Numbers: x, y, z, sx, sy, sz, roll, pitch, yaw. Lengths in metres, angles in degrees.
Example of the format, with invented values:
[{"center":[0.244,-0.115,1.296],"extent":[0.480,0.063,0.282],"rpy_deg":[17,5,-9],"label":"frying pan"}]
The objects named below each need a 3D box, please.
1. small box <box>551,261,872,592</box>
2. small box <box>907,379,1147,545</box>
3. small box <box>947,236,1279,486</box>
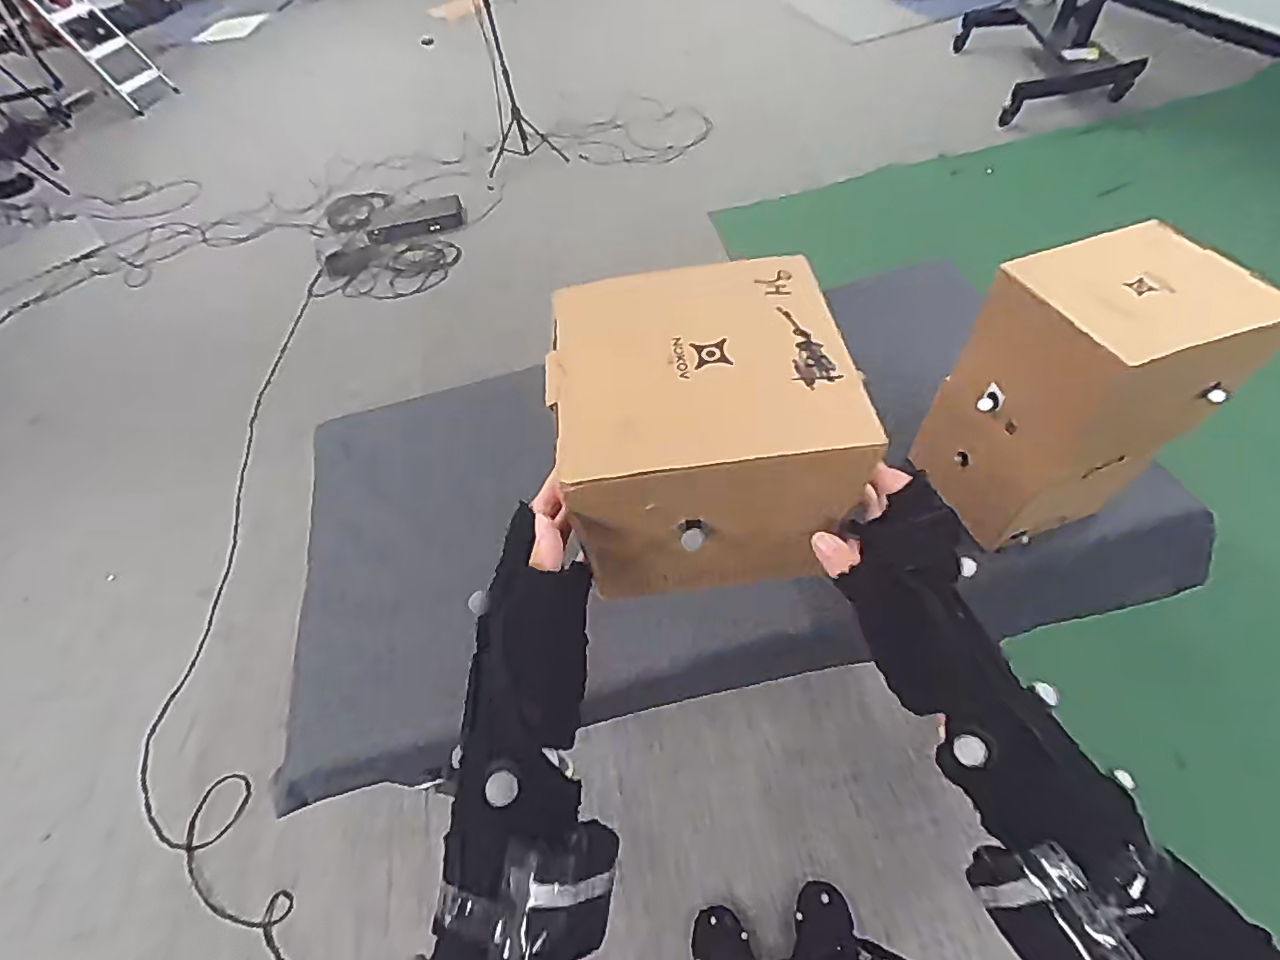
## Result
[{"center":[0.040,-0.028,0.397],"extent":[0.179,0.176,0.168],"rpy_deg":[-7,57,2],"label":"small box"},{"center":[0.489,-0.034,0.709],"extent":[0.168,0.176,0.179],"rpy_deg":[-18,53,-5],"label":"small box"},{"center":[0.471,-0.121,0.574],"extent":[0.179,0.176,0.168],"rpy_deg":[-18,52,-3],"label":"small box"}]
